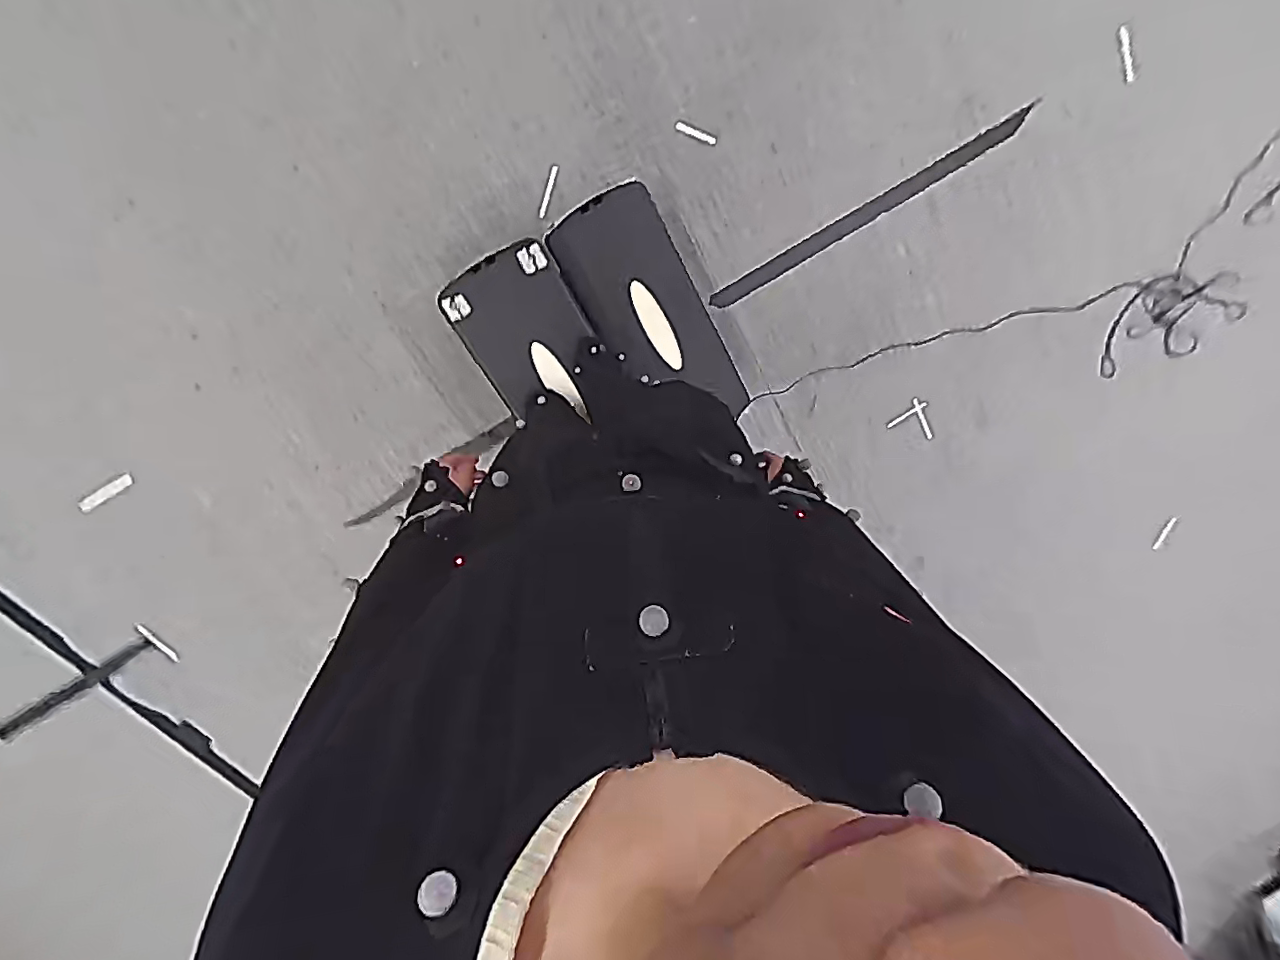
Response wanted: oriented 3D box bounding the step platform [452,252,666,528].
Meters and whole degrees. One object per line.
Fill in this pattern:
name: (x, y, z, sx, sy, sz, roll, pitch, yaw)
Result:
step platform: (-0.192, -0.215, 1.396, 0.286, 0.204, 0.684, -28, 108, -1)
